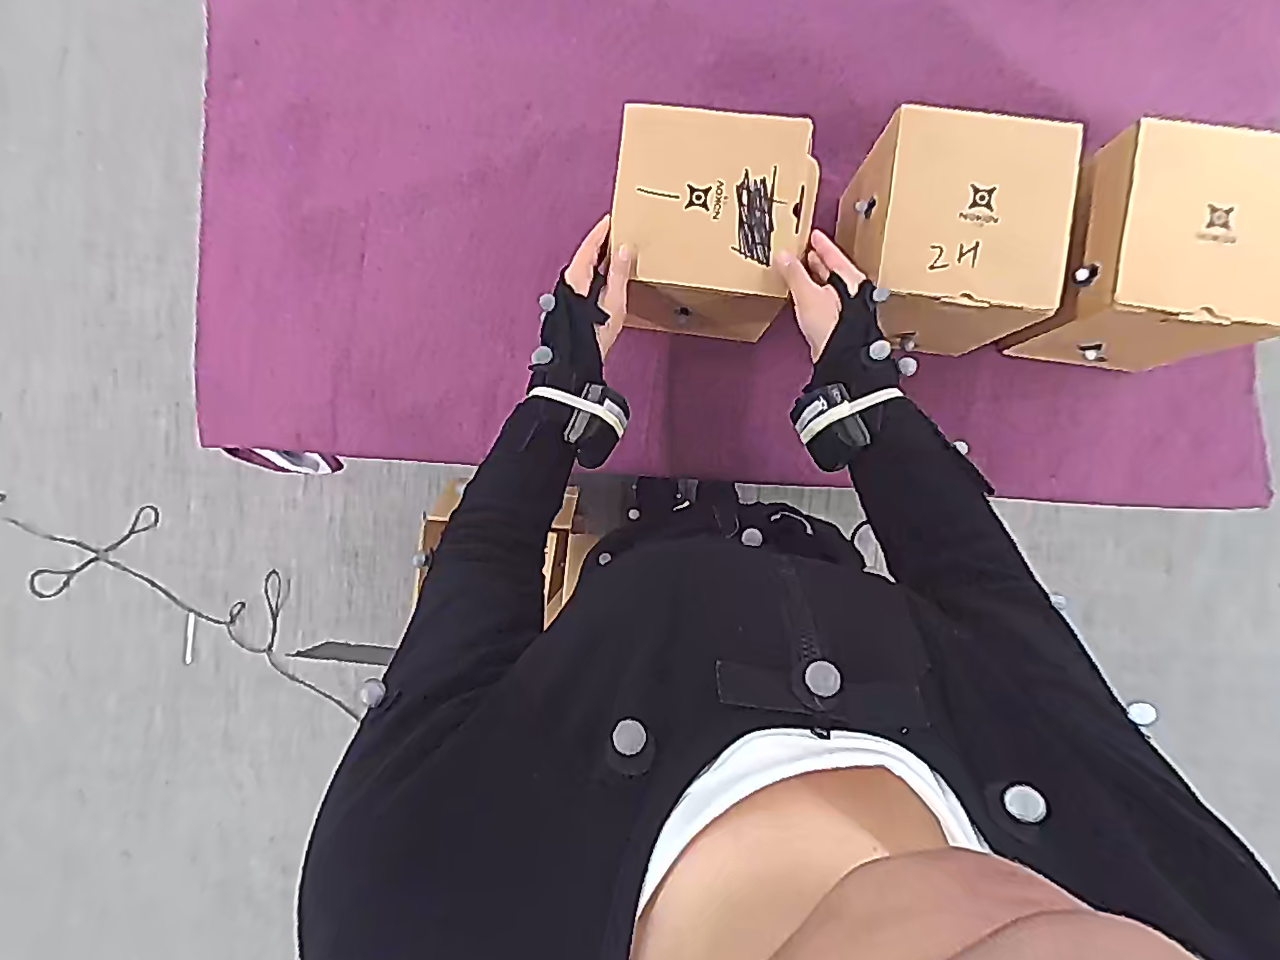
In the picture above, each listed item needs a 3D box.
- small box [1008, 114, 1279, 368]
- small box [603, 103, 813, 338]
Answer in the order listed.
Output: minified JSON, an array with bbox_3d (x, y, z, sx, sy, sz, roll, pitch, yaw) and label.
[{"bbox_3d":[0.520,-0.229,0.559,0.168,0.176,0.179,8,90,3],"label":"small box"},{"bbox_3d":[0.066,-0.258,0.578,0.179,0.176,0.168,8,91,3],"label":"small box"}]
